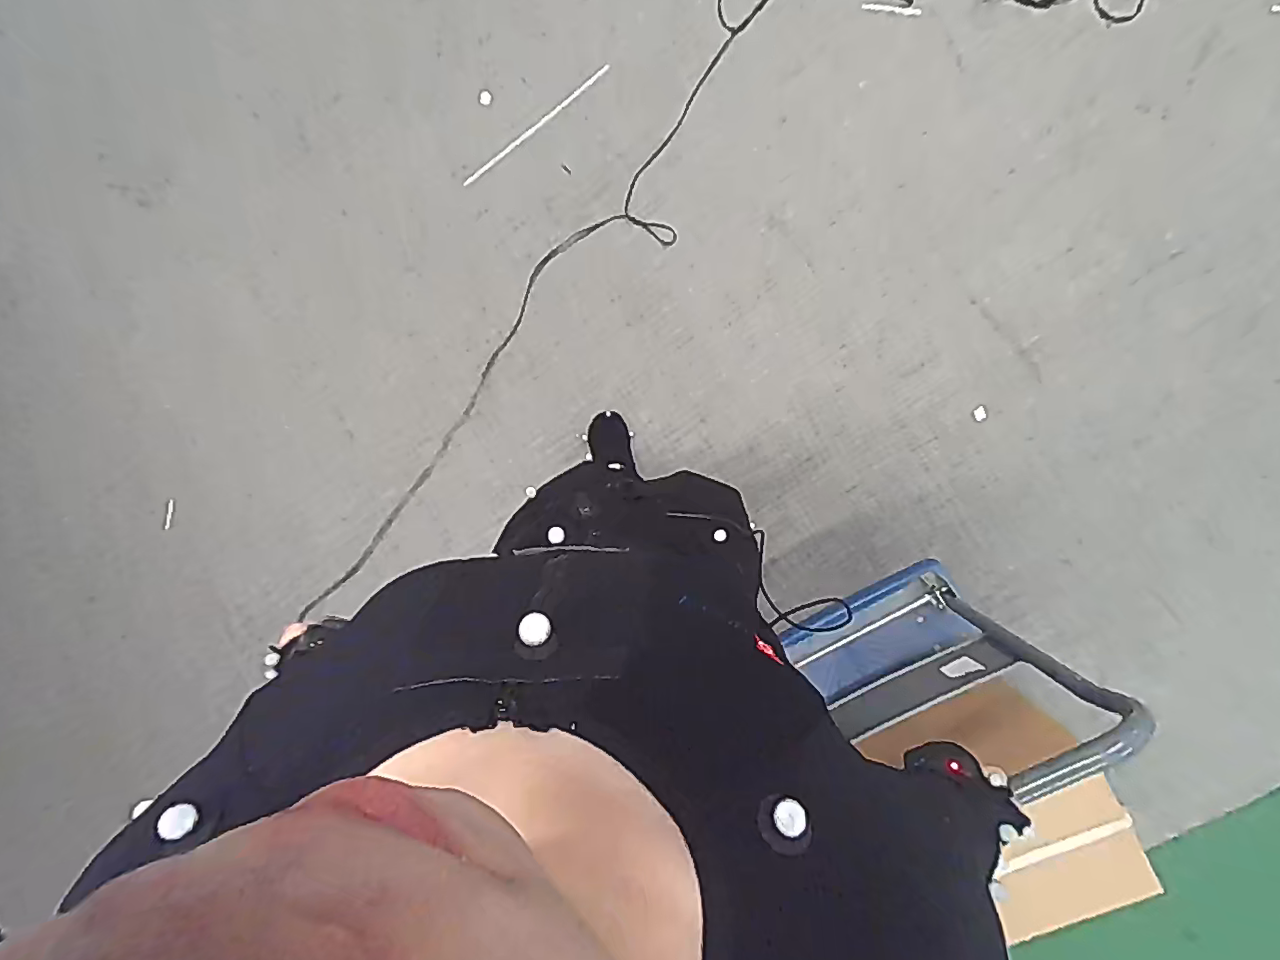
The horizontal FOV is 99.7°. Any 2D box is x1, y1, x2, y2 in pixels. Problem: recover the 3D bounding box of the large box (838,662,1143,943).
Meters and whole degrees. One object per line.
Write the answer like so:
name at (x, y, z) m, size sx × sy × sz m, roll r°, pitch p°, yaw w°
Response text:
large box at (0.714, 0.668, 1.173) m, size 0.408 × 0.320 × 0.320 m, roll -28°, pitch 92°, yaw 8°
